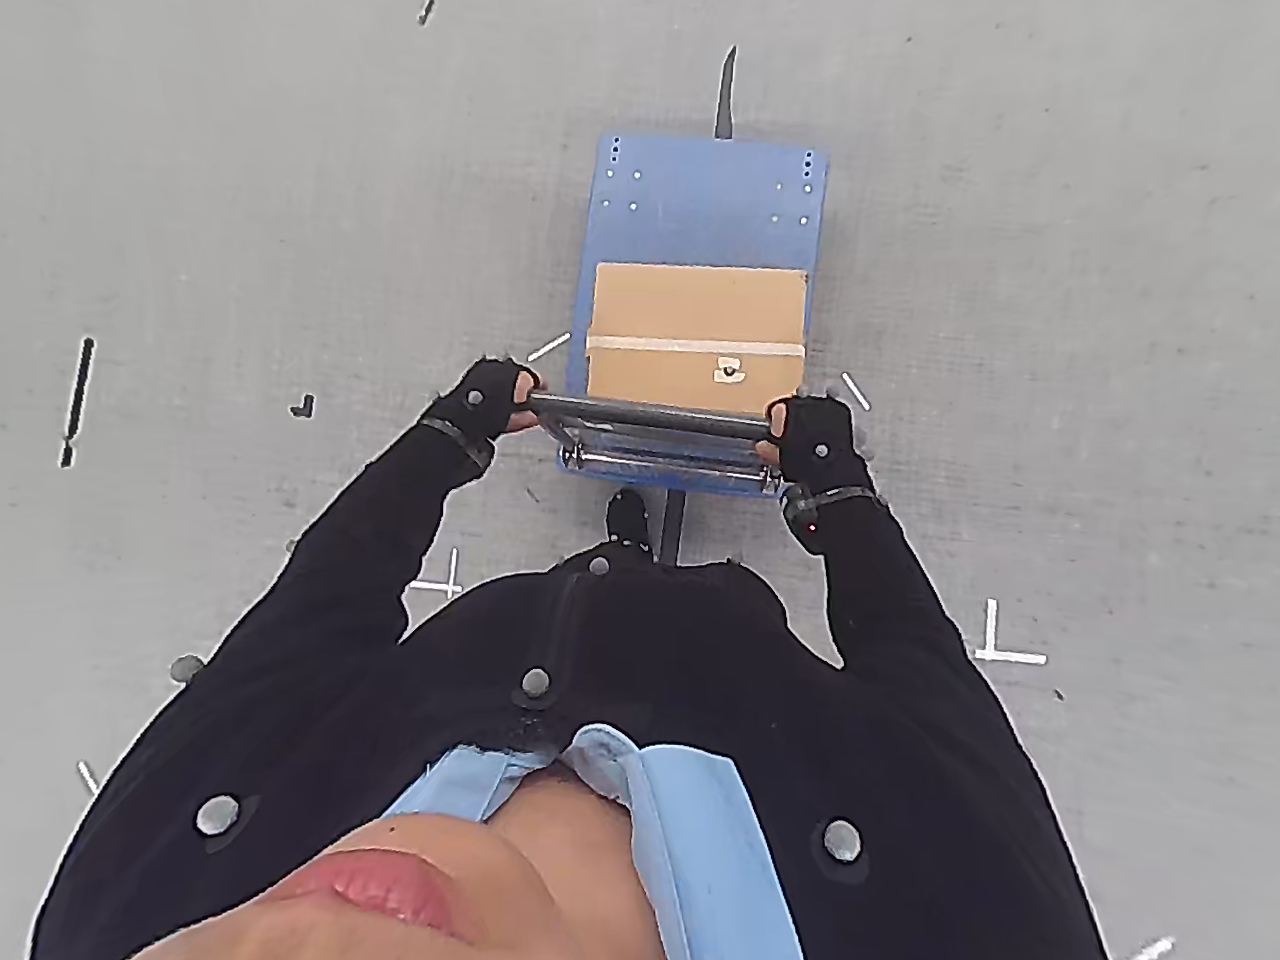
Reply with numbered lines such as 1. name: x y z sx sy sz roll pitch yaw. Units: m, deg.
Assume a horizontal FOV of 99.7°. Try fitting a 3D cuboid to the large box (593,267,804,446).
1. large box: 0.118 -0.251 1.192 0.408 0.320 0.320 3 88 3
